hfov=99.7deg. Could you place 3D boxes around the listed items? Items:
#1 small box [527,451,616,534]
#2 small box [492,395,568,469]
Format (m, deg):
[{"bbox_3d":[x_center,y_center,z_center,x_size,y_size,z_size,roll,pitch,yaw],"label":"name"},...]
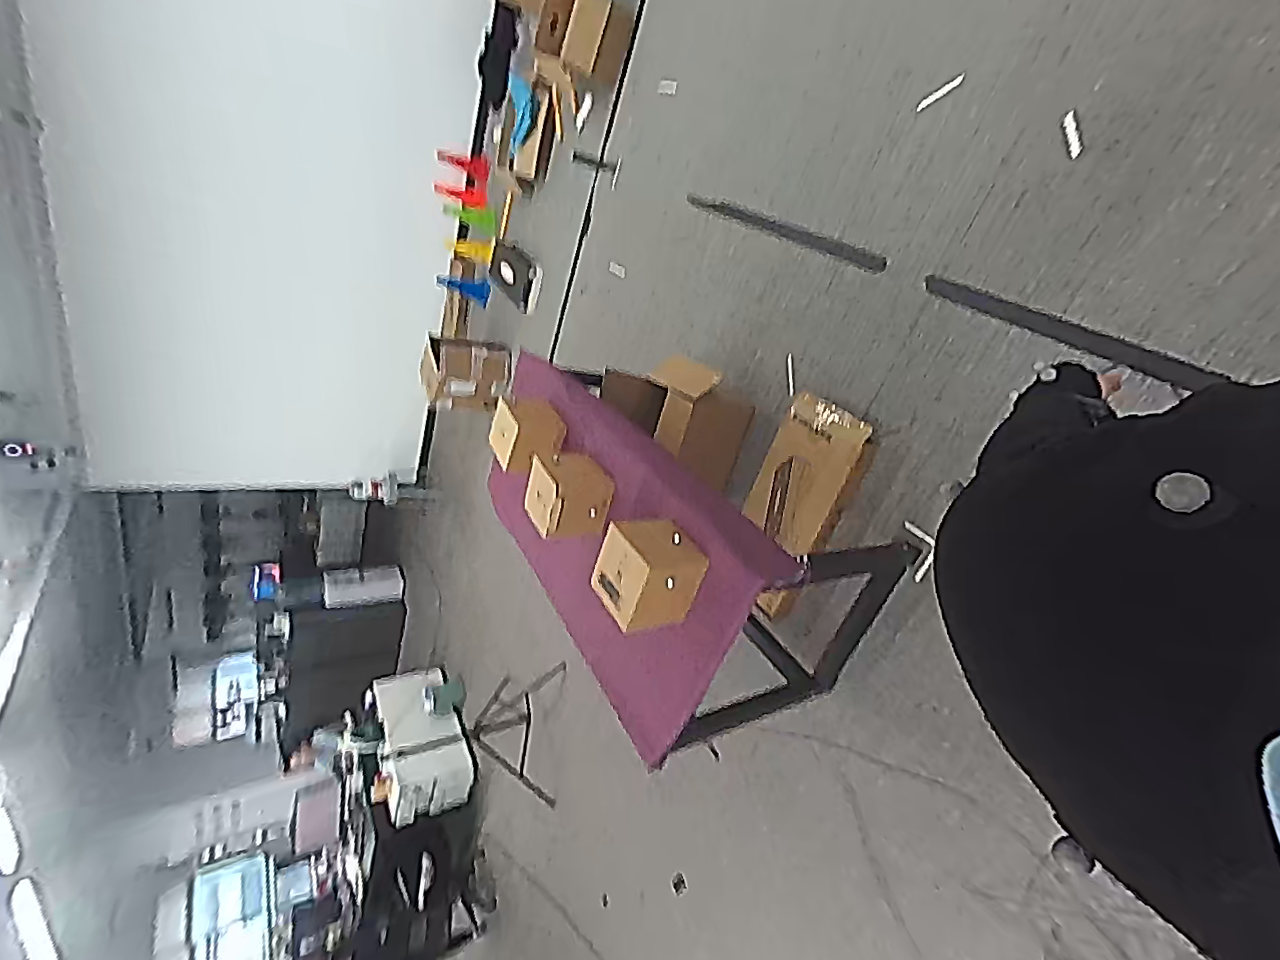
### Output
[{"bbox_3d":[-0.191,0.032,1.493,0.179,0.176,0.168,45,127,44],"label":"small box"},{"bbox_3d":[-0.346,-0.151,1.702,0.179,0.176,0.168,53,130,40],"label":"small box"}]
